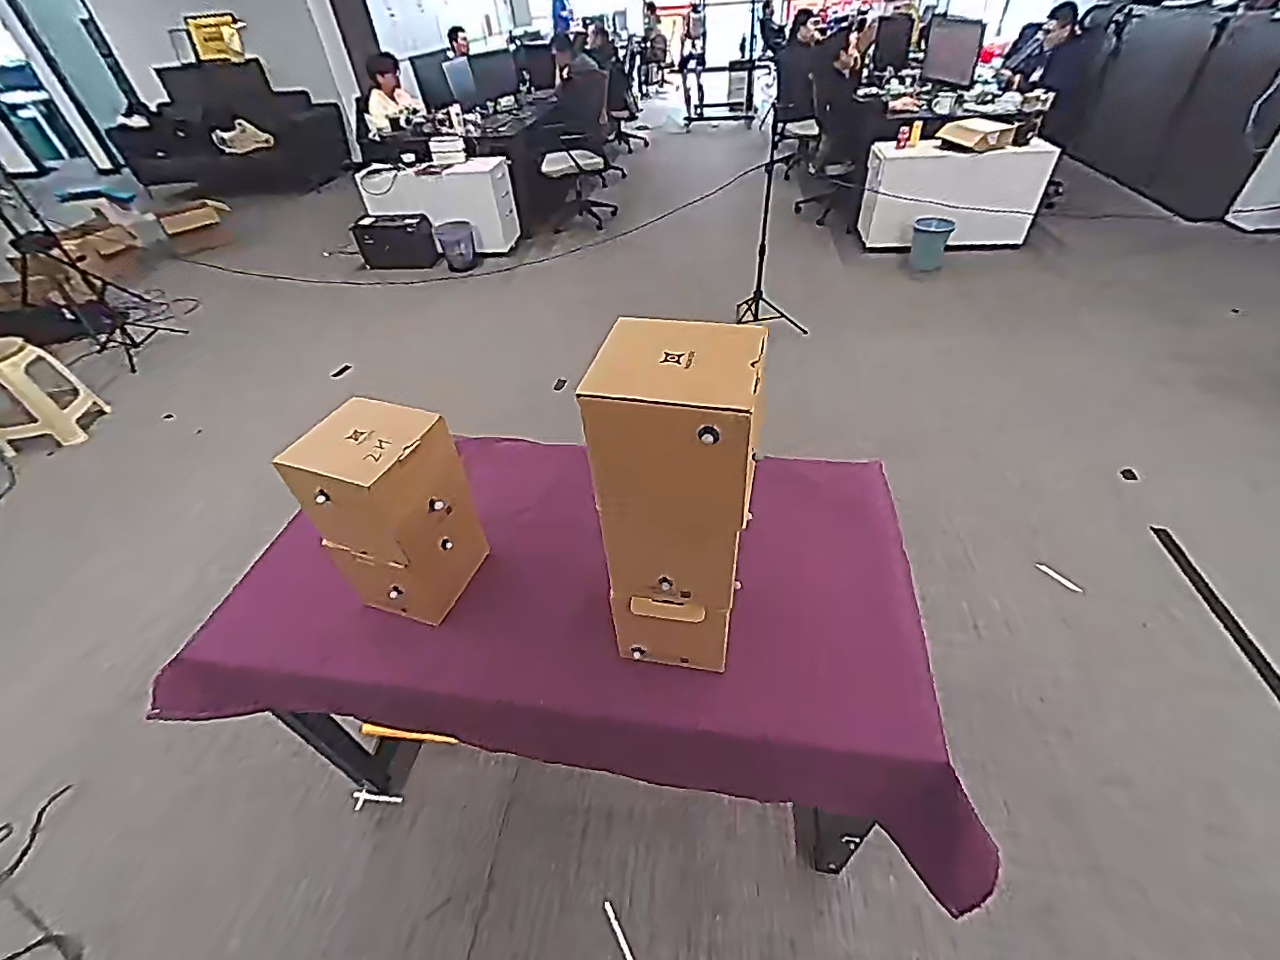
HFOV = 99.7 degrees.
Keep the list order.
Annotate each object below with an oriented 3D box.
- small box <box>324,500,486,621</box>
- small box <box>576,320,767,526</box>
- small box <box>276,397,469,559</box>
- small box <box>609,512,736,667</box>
[{"bbox_3d":[-0.393,0.118,0.944,0.168,0.176,0.179,12,45,16],"label":"small box"},{"bbox_3d":[0.044,-0.066,0.622,0.179,0.176,0.168,8,44,12],"label":"small box"},{"bbox_3d":[-0.396,-0.002,0.833,0.179,0.176,0.168,13,46,17],"label":"small box"},{"bbox_3d":[0.059,0.169,0.848,0.168,0.176,0.179,6,43,11],"label":"small box"}]
